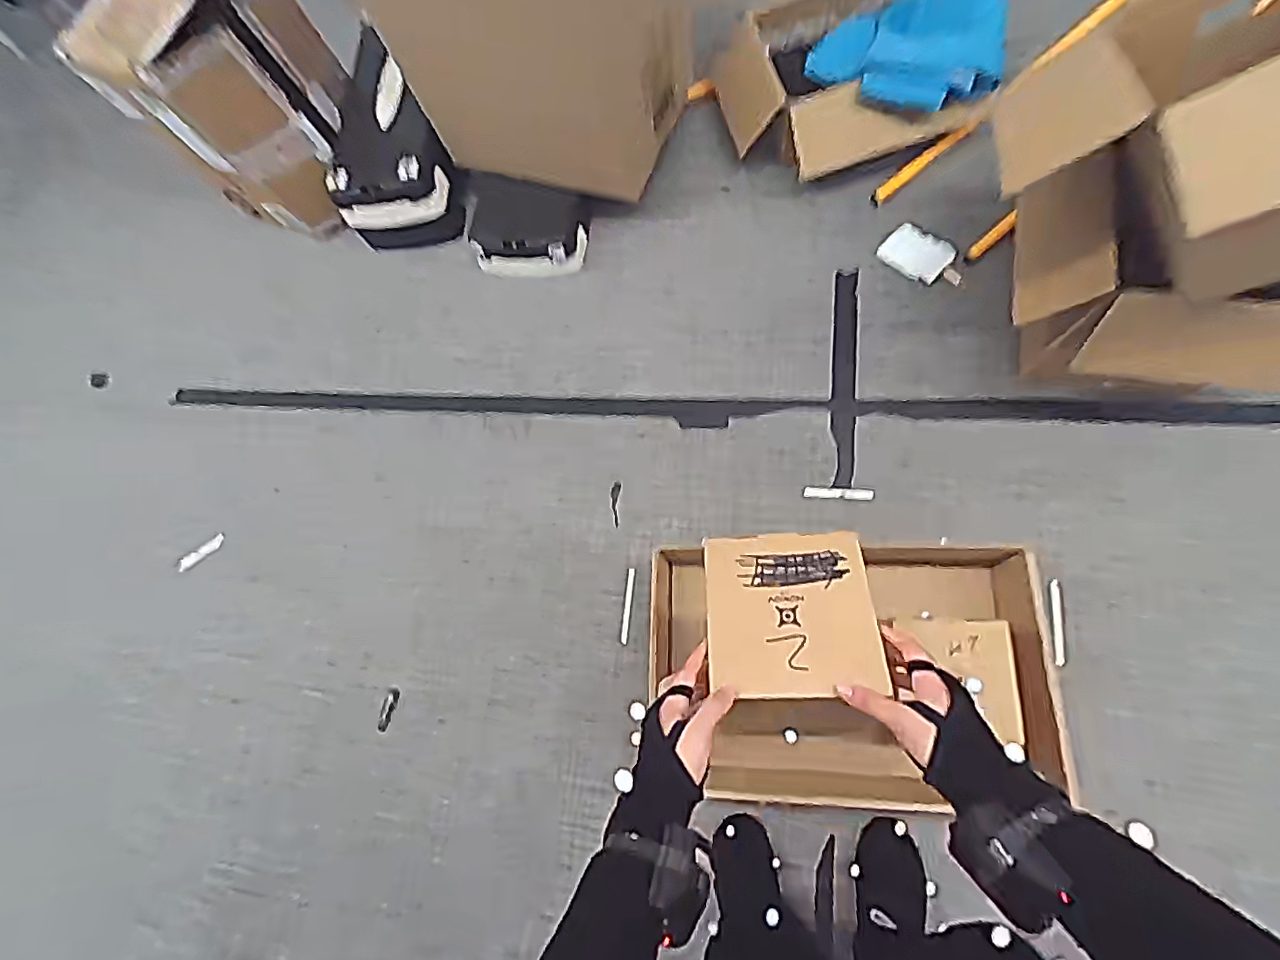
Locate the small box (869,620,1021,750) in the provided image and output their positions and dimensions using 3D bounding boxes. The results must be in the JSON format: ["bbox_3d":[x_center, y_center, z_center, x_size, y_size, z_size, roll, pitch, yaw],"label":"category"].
[{"bbox_3d":[0.484,0.326,0.885,0.168,0.176,0.179,0,73,10],"label":"small box"}]
